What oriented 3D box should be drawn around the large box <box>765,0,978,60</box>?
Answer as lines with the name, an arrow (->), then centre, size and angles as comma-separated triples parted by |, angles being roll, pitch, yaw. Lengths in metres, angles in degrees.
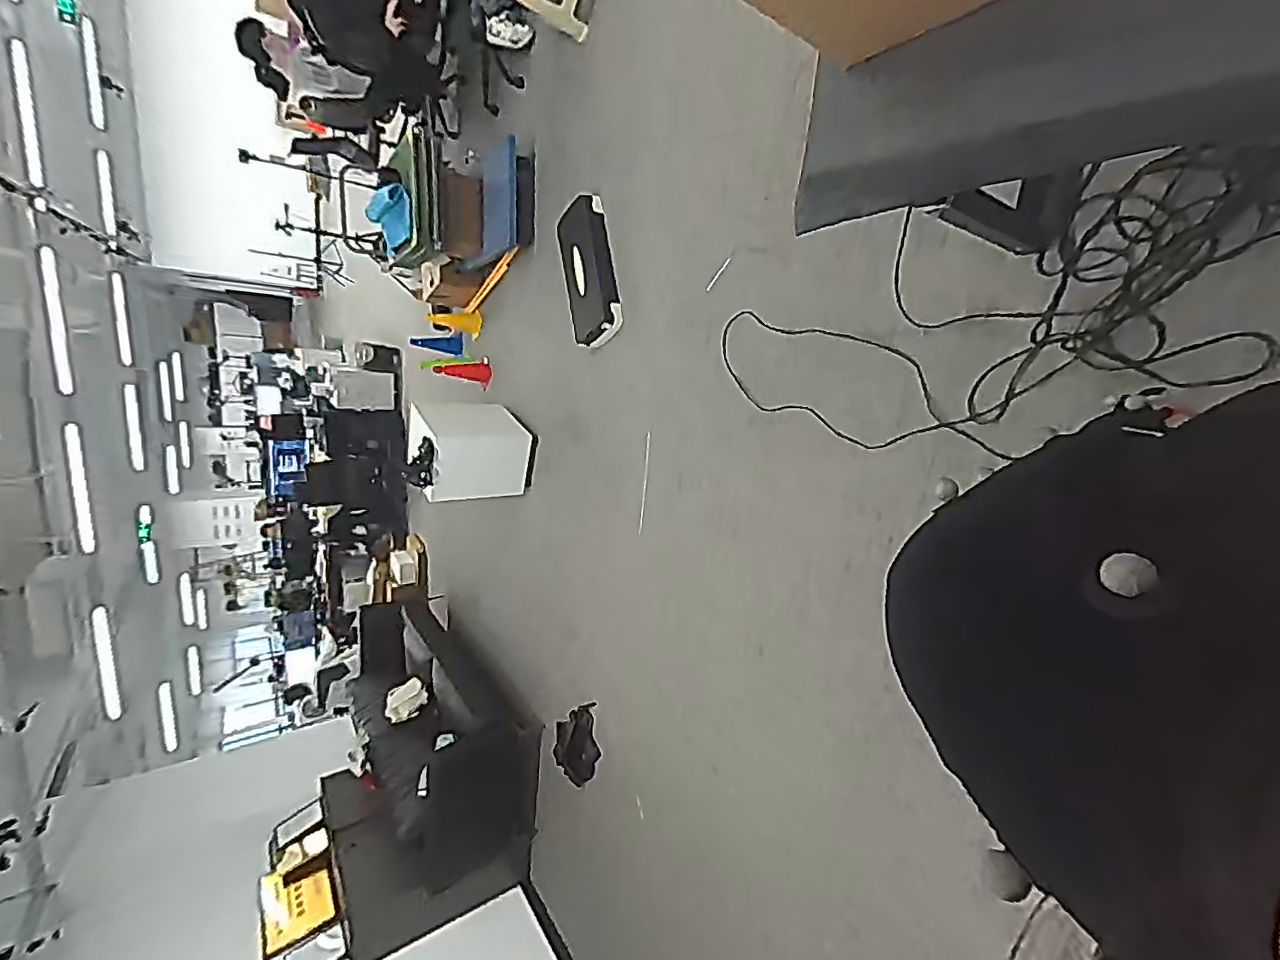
large box -> 0.289, -0.666, 0.460 | 0.408, 0.320, 0.320 | 17, 107, 51
